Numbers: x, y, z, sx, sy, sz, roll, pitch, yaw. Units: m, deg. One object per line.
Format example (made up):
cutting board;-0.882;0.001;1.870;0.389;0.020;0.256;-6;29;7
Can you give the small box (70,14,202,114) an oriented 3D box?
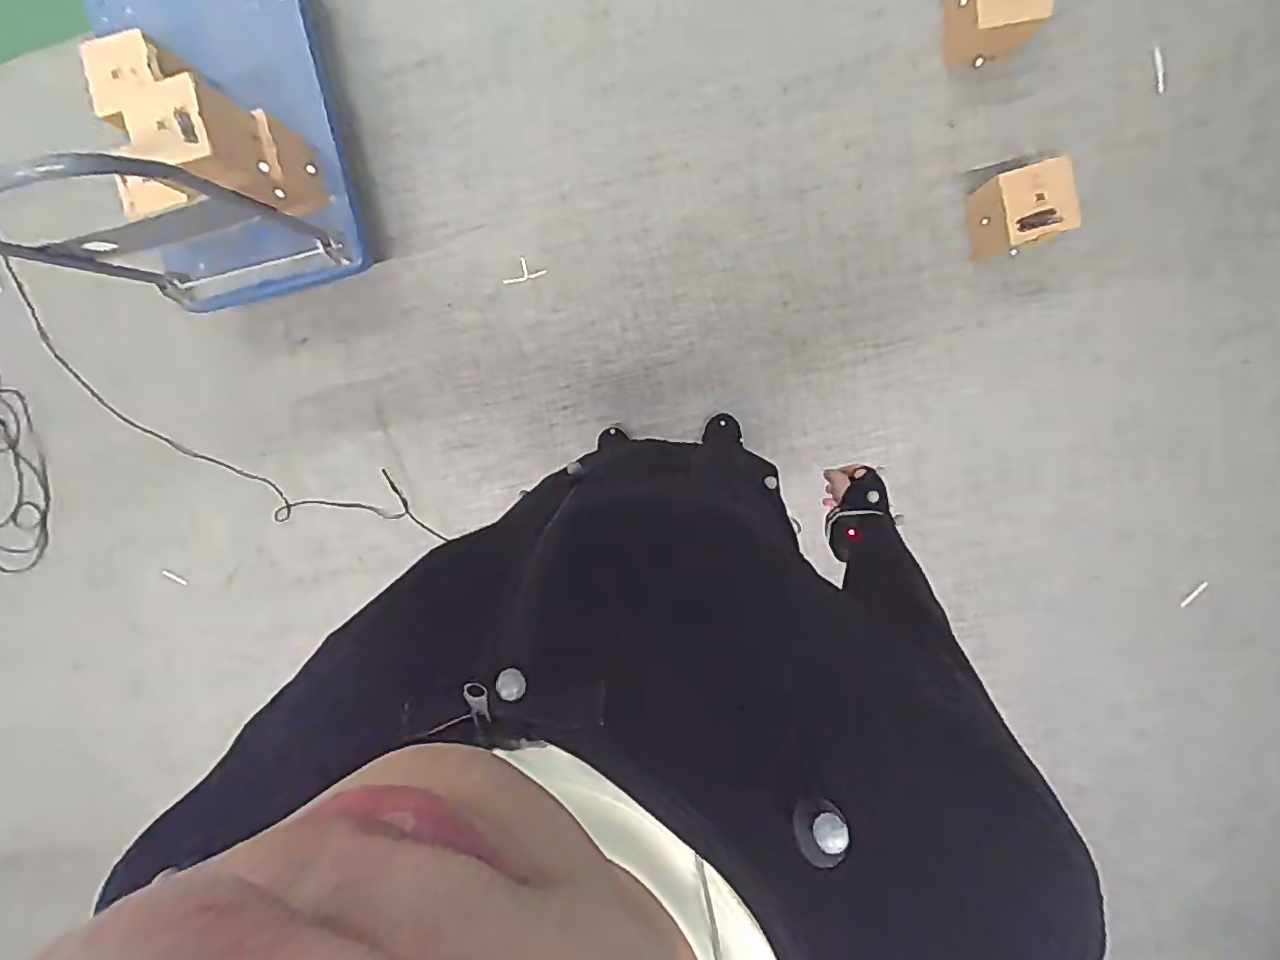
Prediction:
small box;-1.223;-0.990;1.334;0.179;0.176;0.168;-7;98;5

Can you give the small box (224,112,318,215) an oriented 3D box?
small box;-0.942;-0.792;1.348;0.168;0.176;0.179;19;99;0

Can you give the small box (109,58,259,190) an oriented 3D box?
small box;-0.977;-0.764;1.181;0.179;0.176;0.168;-11;96;6

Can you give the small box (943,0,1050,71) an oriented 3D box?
small box;0.869;-1.160;1.333;0.168;0.176;0.179;-5;97;5
